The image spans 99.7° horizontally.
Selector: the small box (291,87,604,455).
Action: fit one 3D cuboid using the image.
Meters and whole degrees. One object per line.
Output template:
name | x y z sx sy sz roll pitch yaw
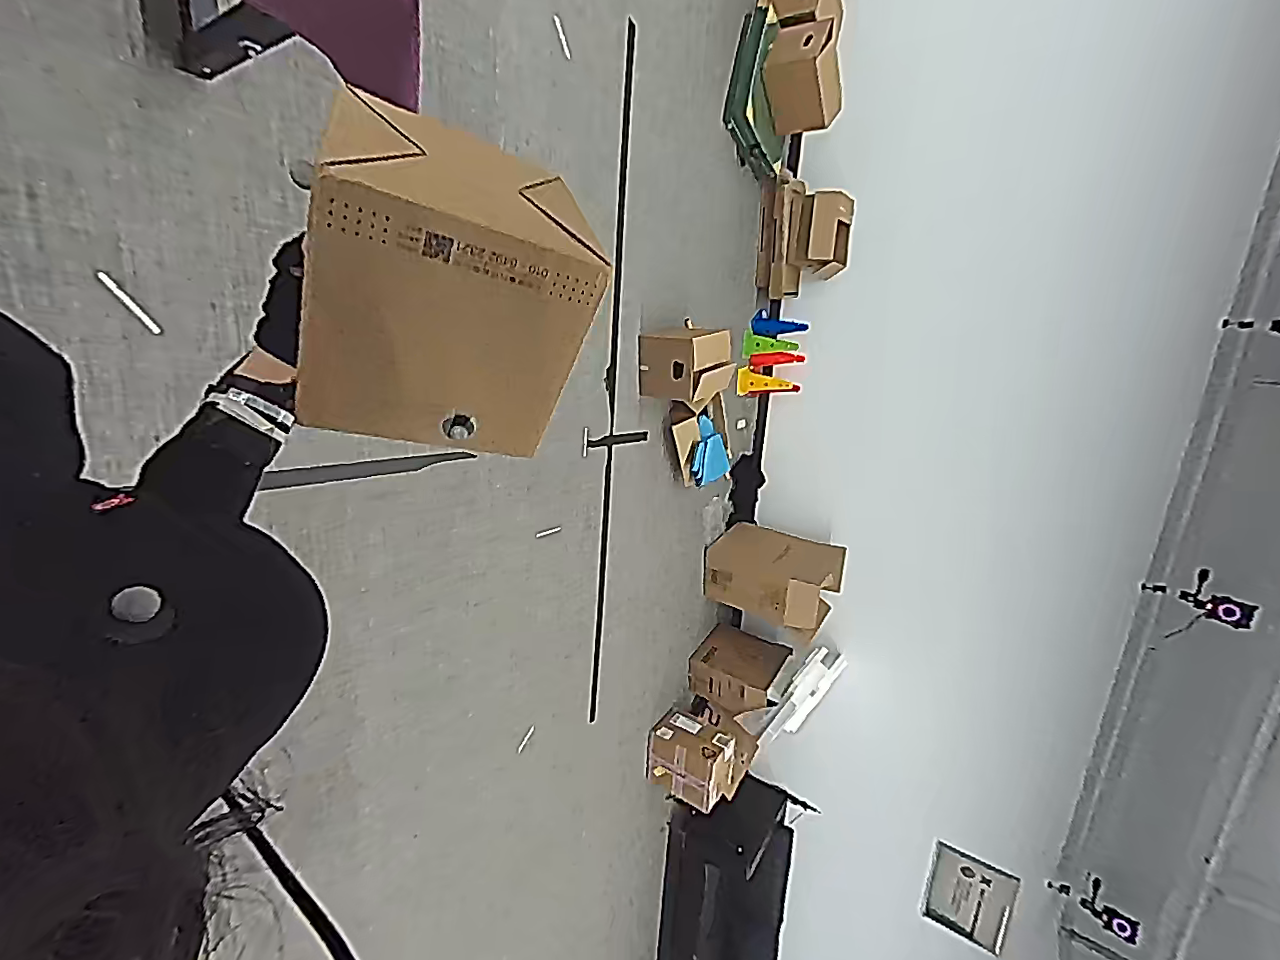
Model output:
small box | -0.142 -0.146 0.395 0.168 0.179 0.176 8 132 -30
